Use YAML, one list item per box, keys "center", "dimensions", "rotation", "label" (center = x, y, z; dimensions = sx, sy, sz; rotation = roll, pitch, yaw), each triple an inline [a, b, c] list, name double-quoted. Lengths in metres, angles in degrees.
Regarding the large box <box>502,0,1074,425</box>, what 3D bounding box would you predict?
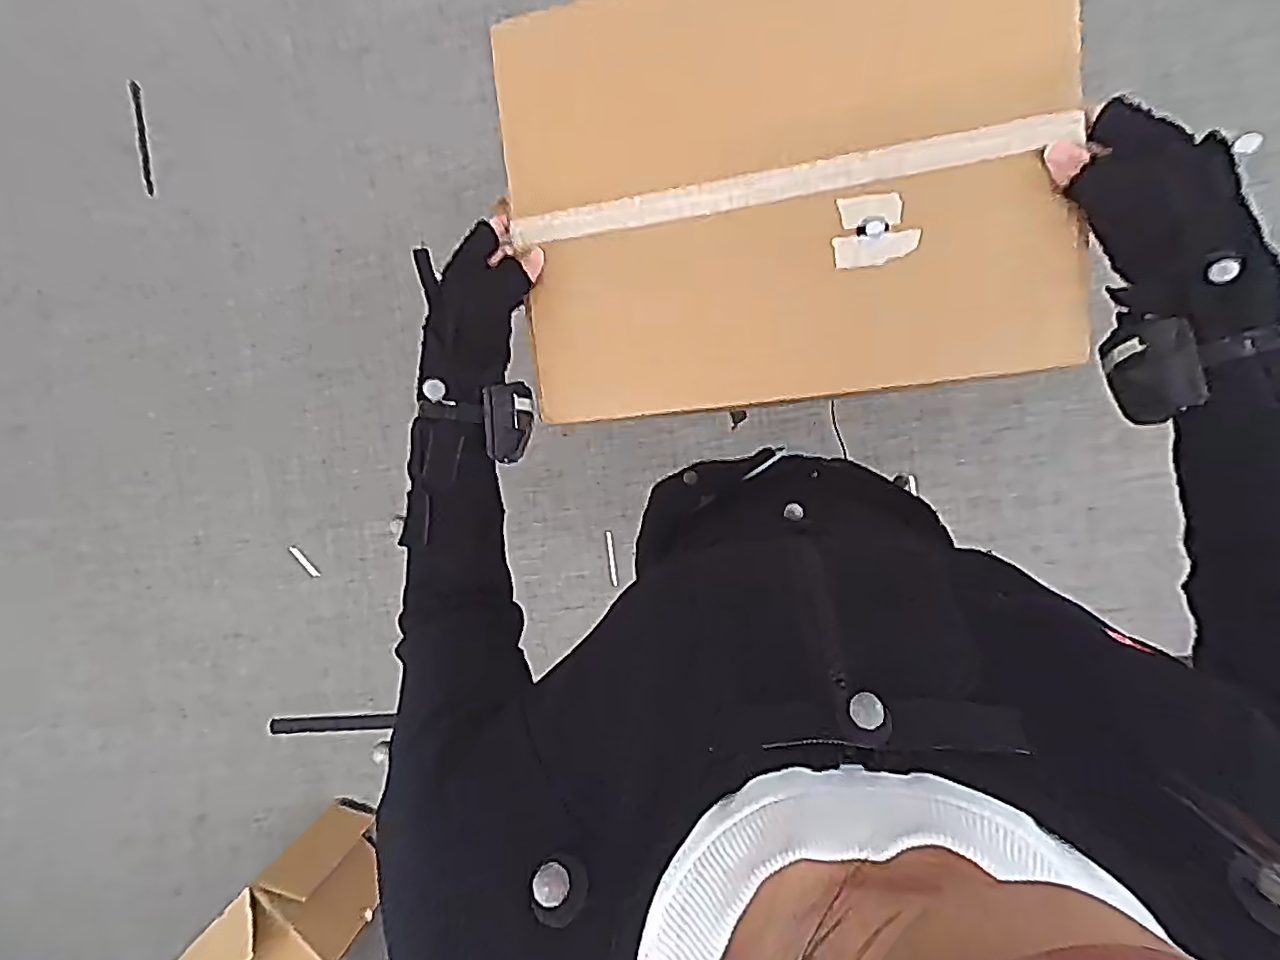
- center: [0.124, -0.237, 0.557]
  dimensions: [0.408, 0.320, 0.320]
  rotation: [-6, 96, 10]
  label: "large box"
